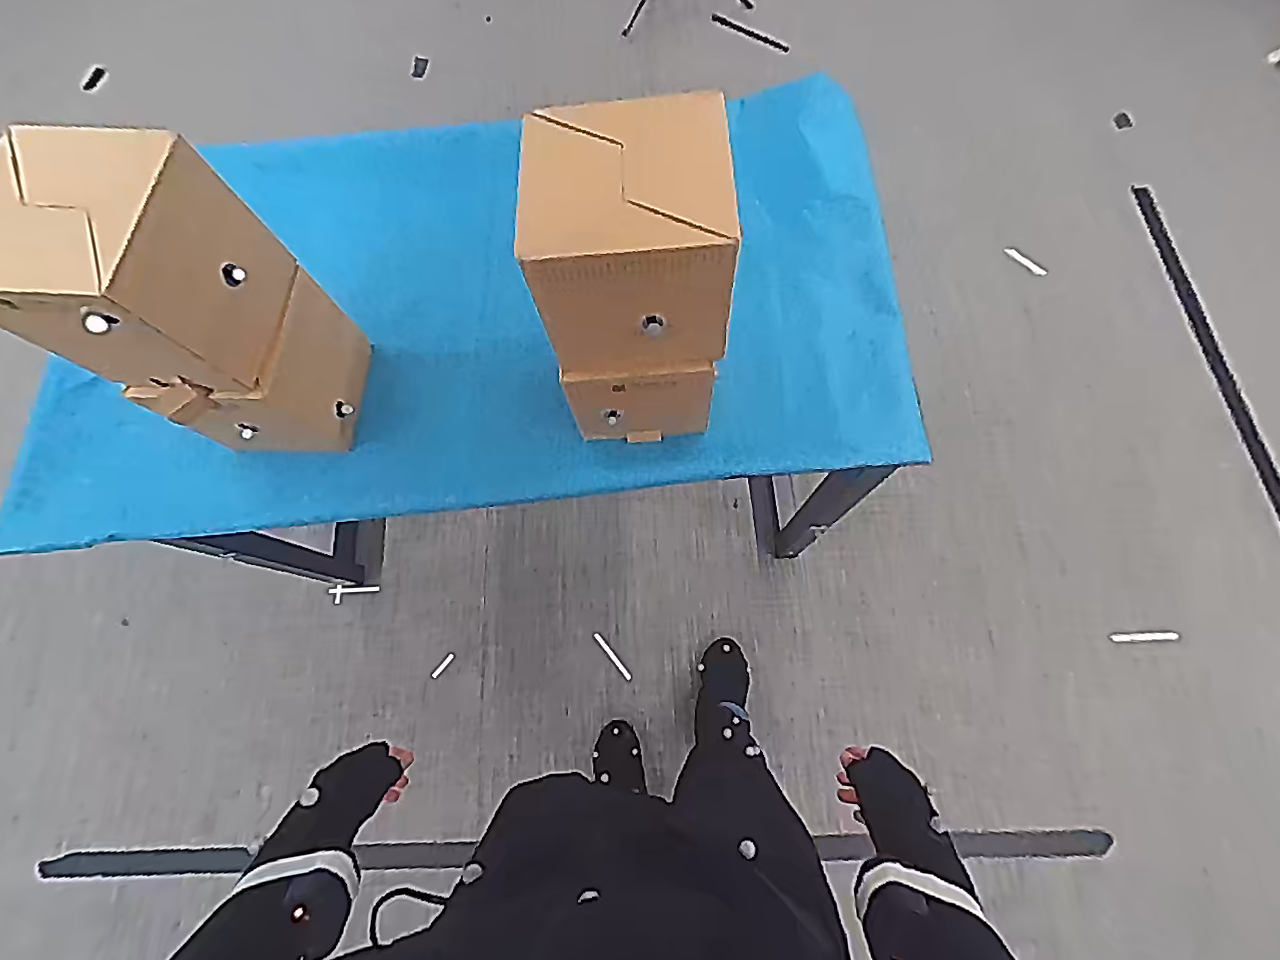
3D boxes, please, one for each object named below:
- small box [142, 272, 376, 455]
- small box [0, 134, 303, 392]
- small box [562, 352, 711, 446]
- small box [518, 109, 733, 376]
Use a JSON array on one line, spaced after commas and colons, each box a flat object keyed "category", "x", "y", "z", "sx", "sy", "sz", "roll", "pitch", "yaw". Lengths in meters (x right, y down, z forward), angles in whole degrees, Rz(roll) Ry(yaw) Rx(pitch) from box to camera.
[{"category": "small box", "x": -0.473, "y": -0.143, "z": 0.692, "sx": 0.168, "sy": 0.176, "sz": 0.179, "roll": 1, "pitch": 72, "yaw": 2}, {"category": "small box", "x": -0.488, "y": -0.206, "z": 0.540, "sx": 0.168, "sy": 0.176, "sz": 0.179, "roll": 4, "pitch": 73, "yaw": 4}, {"category": "small box", "x": -0.004, "y": -0.161, "z": 0.677, "sx": 0.168, "sy": 0.176, "sz": 0.179, "roll": -4, "pitch": 70, "yaw": 1}, {"category": "small box", "x": -0.006, "y": -0.221, "z": 0.525, "sx": 0.179, "sy": 0.176, "sz": 0.168, "roll": -4, "pitch": 69, "yaw": 4}]
